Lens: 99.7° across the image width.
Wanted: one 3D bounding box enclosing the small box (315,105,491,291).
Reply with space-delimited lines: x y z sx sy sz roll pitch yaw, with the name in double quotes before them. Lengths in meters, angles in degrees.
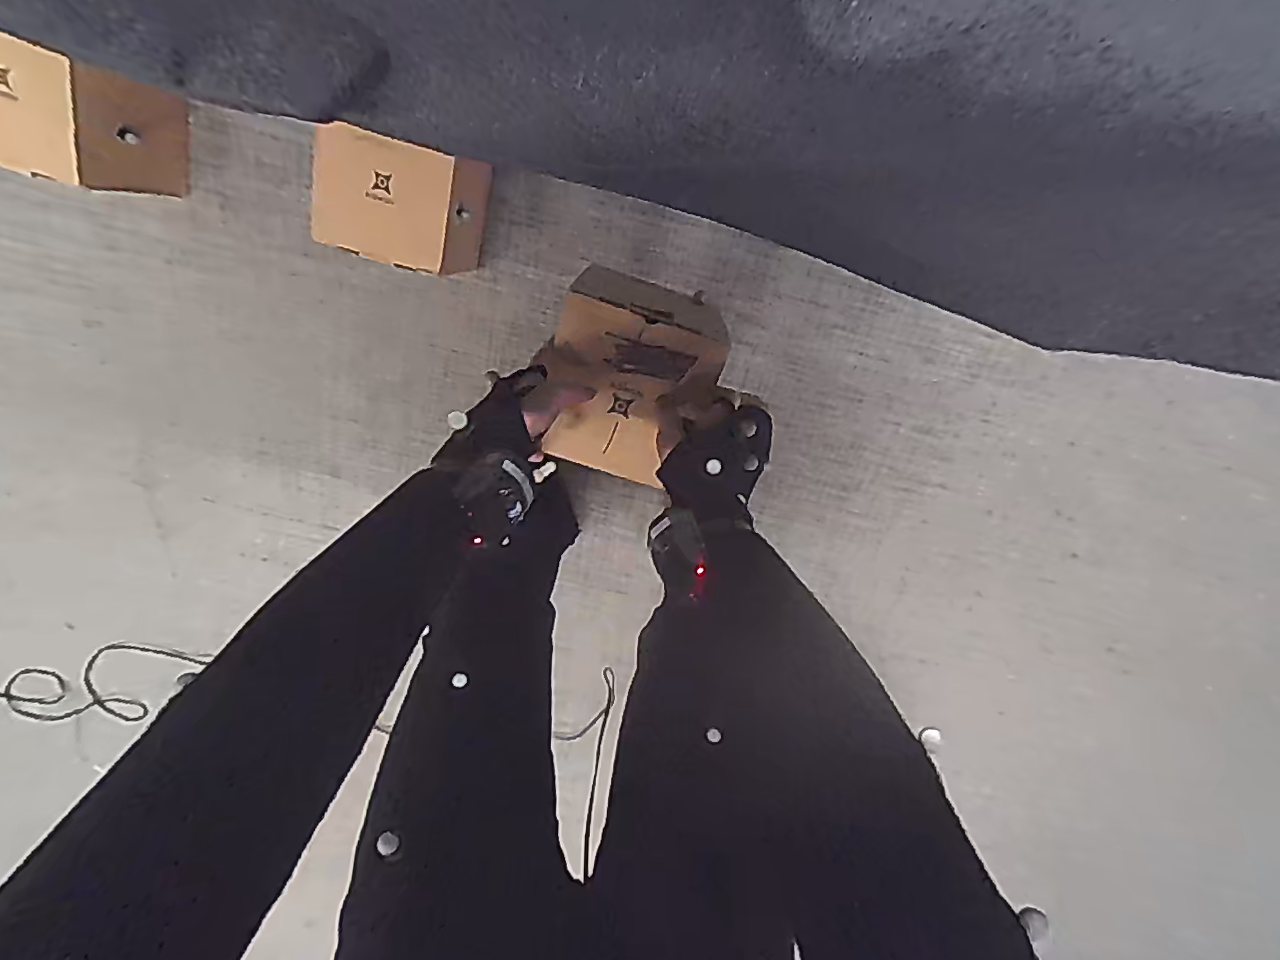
"small box" -0.317 -0.374 0.747 0.168 0.176 0.179 14 111 -5
